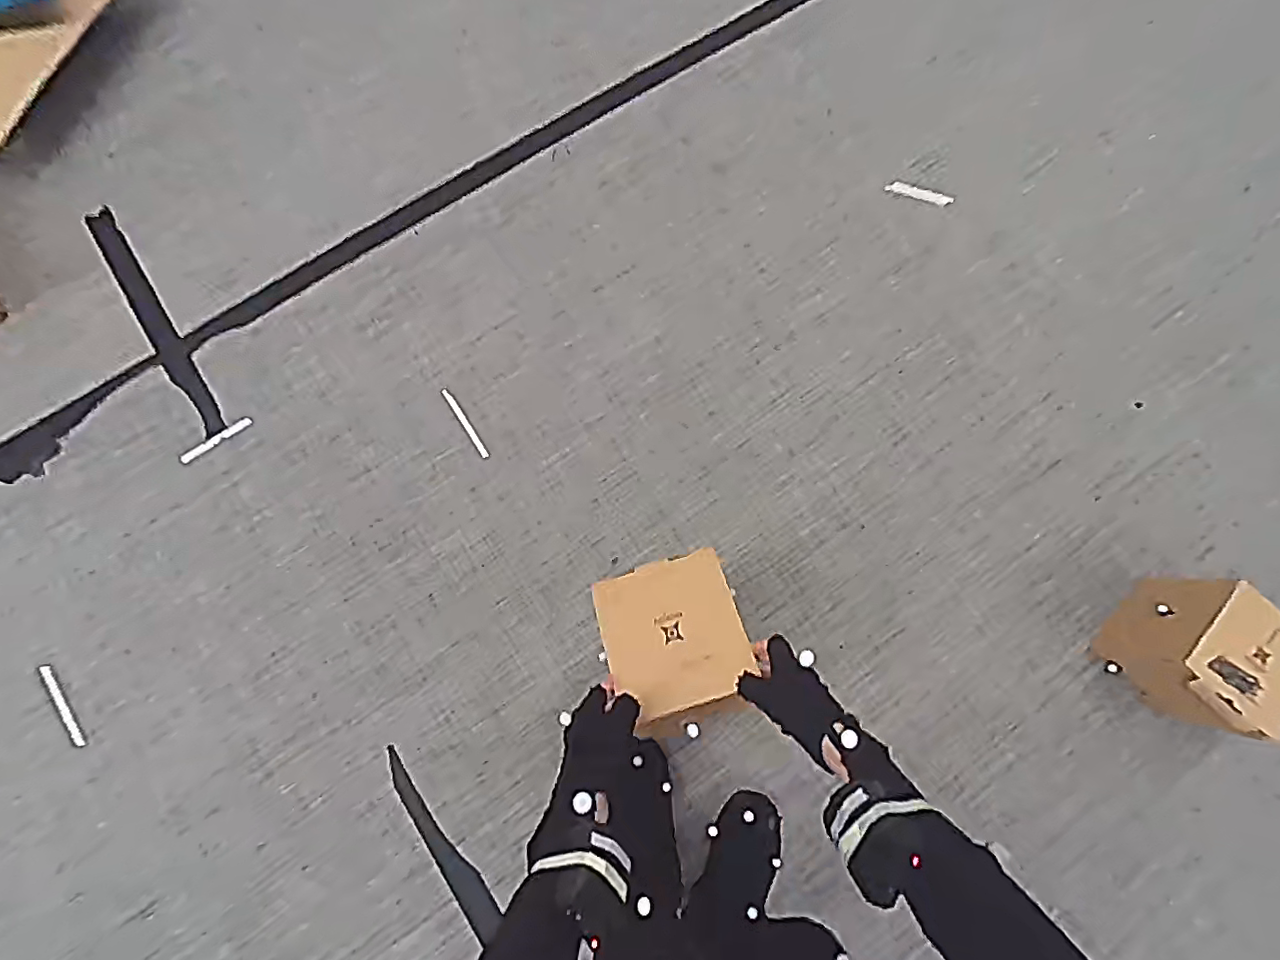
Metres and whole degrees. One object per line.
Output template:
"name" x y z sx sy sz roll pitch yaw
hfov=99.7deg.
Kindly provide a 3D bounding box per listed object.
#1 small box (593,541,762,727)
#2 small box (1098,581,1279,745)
"small box" 0.048 0.208 0.715 0.168 0.176 0.179 -17 61 -1
"small box" 0.909 0.283 0.878 0.168 0.176 0.179 44 81 6
